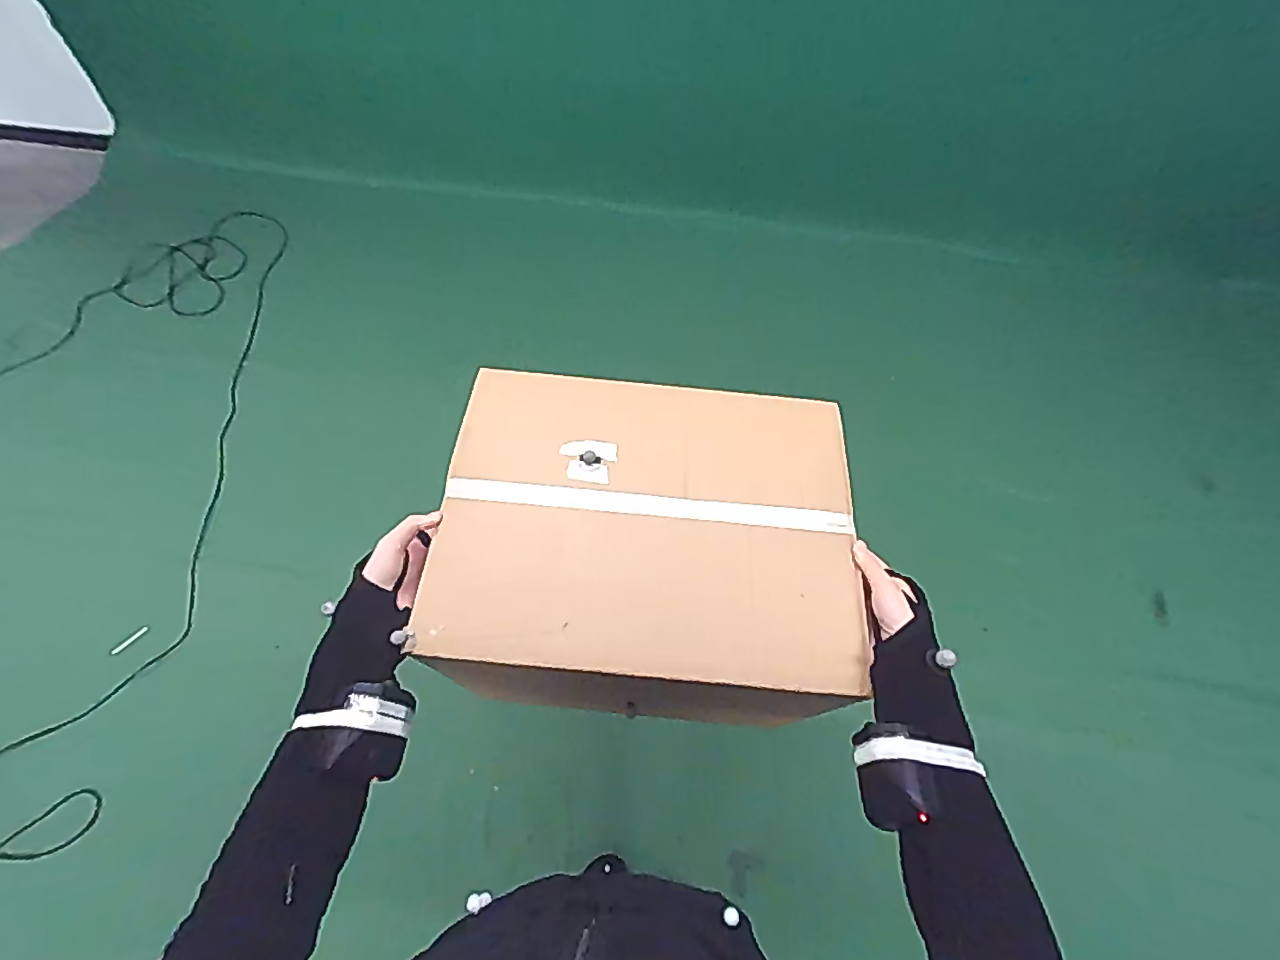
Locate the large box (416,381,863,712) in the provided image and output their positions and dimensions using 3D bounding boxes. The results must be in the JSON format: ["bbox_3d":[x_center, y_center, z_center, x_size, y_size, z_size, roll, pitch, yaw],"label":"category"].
[{"bbox_3d":[0.006,0.103,0.676,0.408,0.320,0.320,4,61,0],"label":"large box"}]
